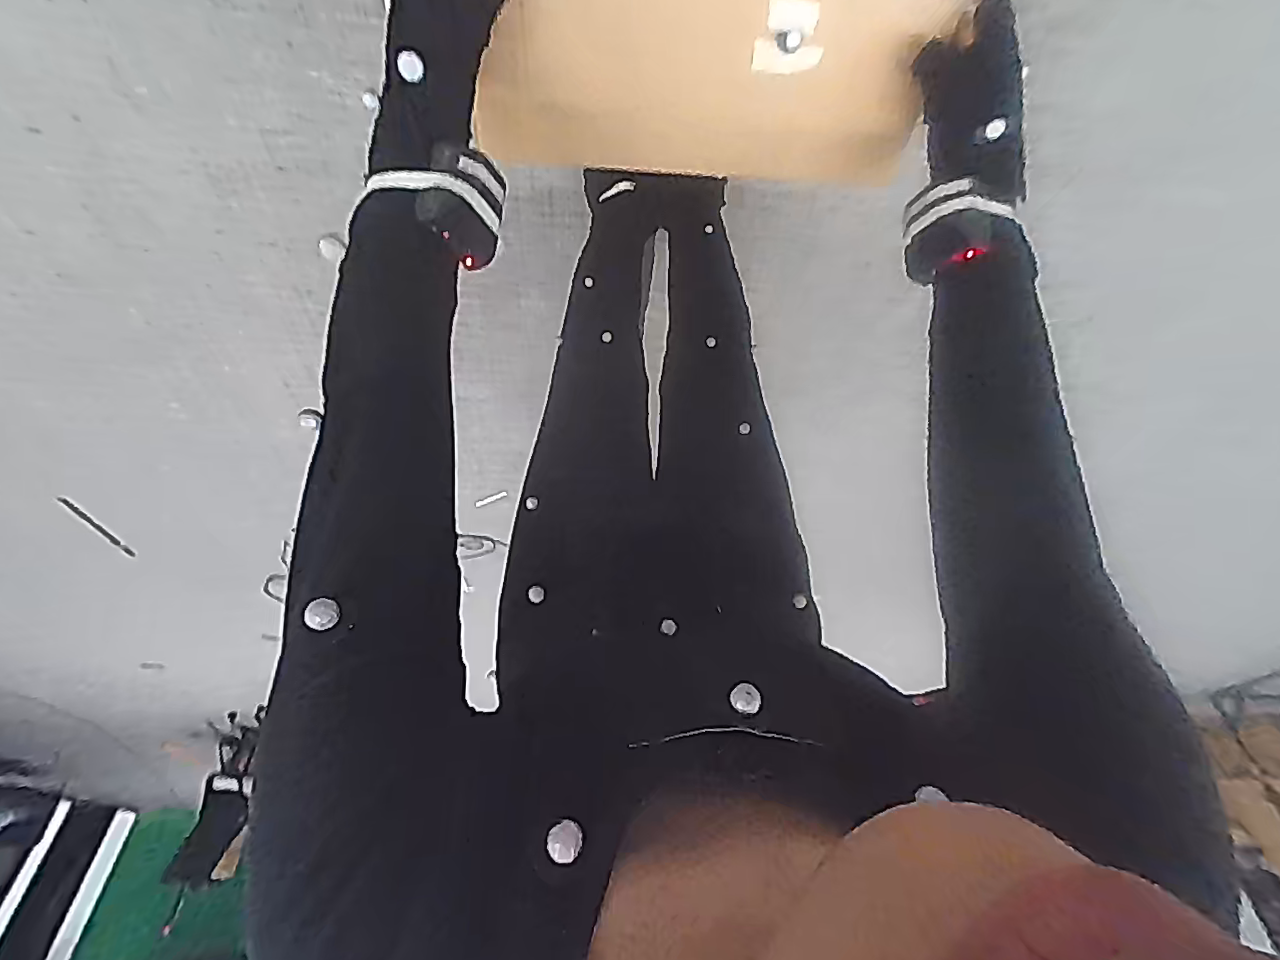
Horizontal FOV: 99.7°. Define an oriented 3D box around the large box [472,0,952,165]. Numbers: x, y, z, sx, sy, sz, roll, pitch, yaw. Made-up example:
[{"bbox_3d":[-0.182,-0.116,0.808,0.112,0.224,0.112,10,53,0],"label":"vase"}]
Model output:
[{"bbox_3d":[0.056,-0.527,0.512,0.408,0.320,0.320,0,140,-5],"label":"large box"}]
